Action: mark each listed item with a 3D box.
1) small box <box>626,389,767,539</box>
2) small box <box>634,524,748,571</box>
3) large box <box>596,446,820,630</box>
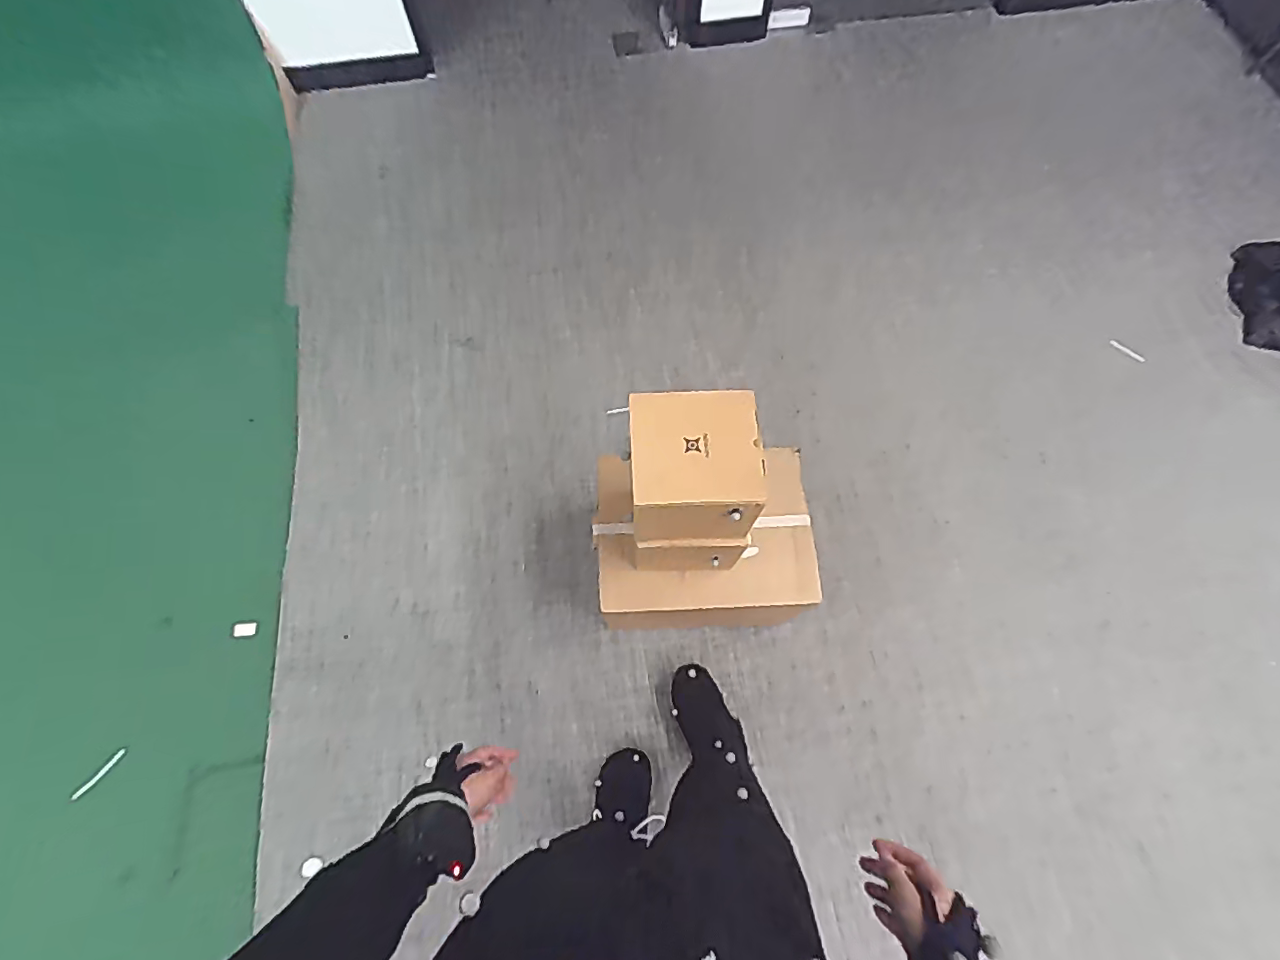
[{"bbox_3d":[0.072,-0.016,0.786,0.179,0.176,0.168,-2,68,-2],"label":"small box"},{"bbox_3d":[0.078,0.058,0.931,0.179,0.176,0.168,-2,68,0],"label":"small box"},{"bbox_3d":[0.116,0.138,1.161,0.408,0.320,0.320,-2,70,-3],"label":"large box"}]
